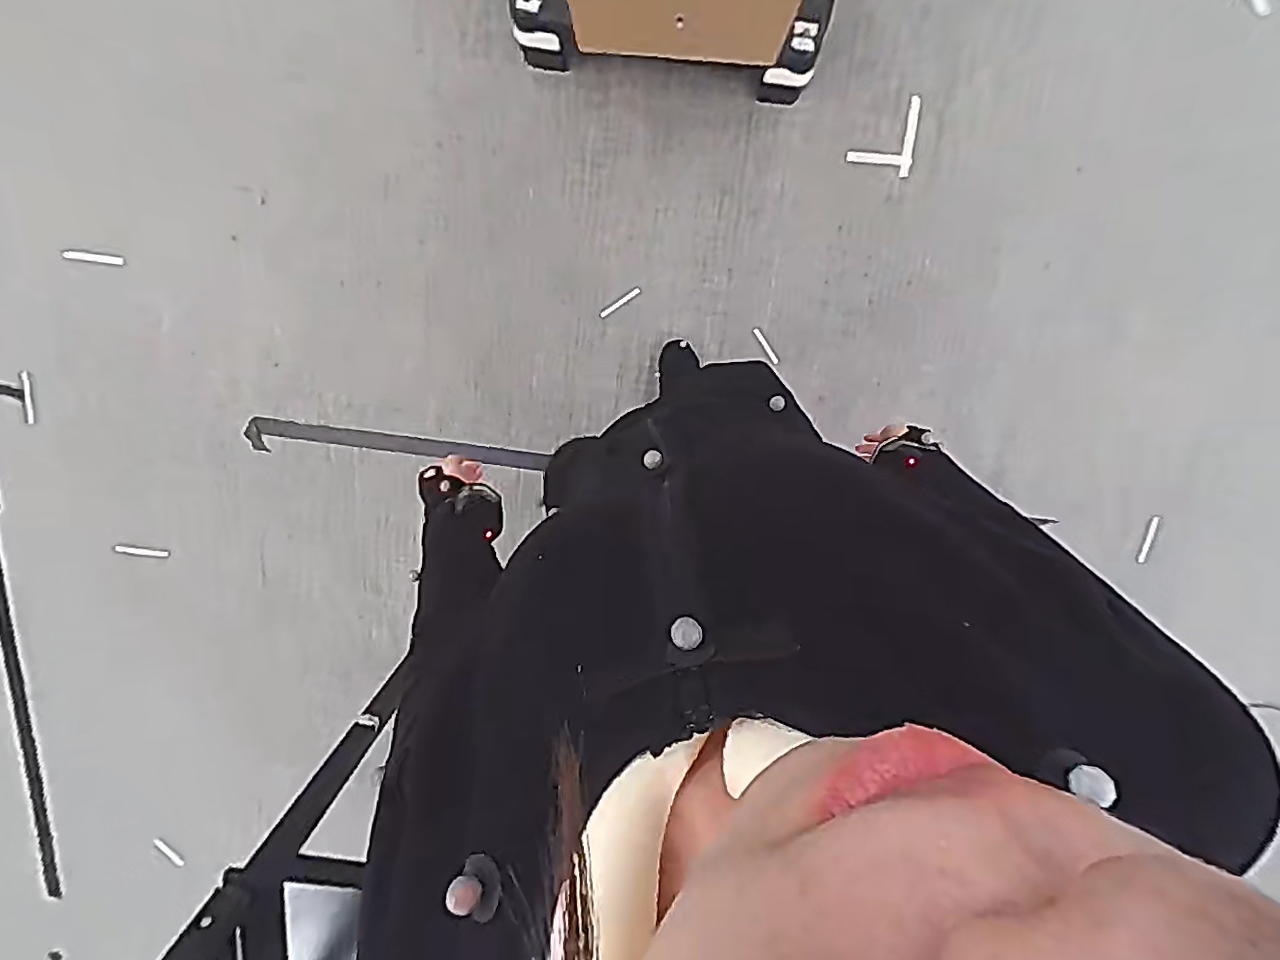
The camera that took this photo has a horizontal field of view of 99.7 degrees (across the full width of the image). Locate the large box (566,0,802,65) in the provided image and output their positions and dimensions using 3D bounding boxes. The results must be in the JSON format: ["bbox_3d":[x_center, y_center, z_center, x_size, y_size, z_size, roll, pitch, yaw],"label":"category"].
[{"bbox_3d":[0.081,-0.967,0.927,0.408,0.320,0.320,4,102,1],"label":"large box"}]
